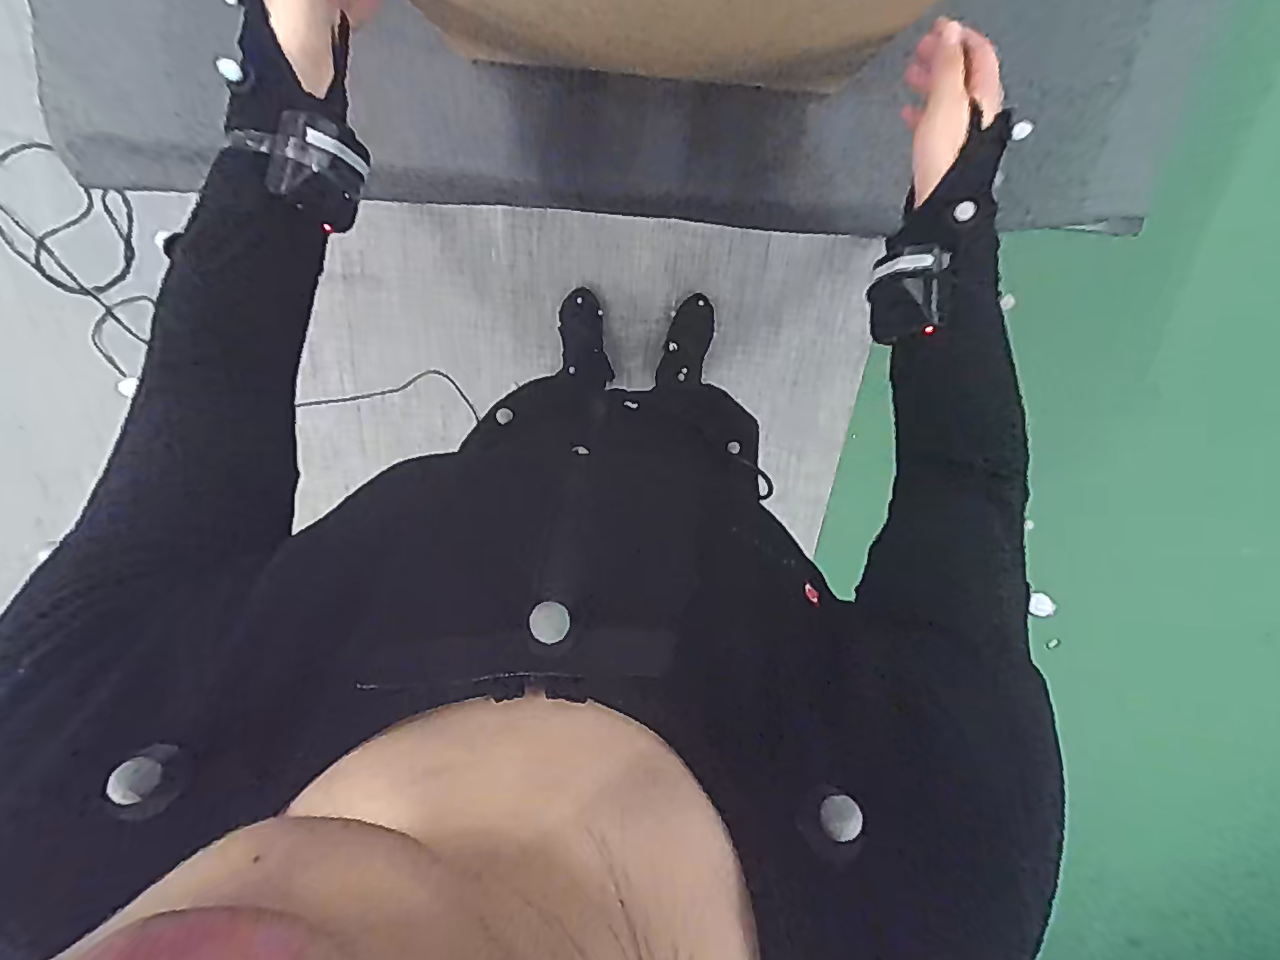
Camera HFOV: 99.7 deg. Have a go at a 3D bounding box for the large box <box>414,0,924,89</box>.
[{"bbox_3d":[0.019,-0.516,0.387,0.408,0.320,0.320,4,113,-1],"label":"large box"}]
